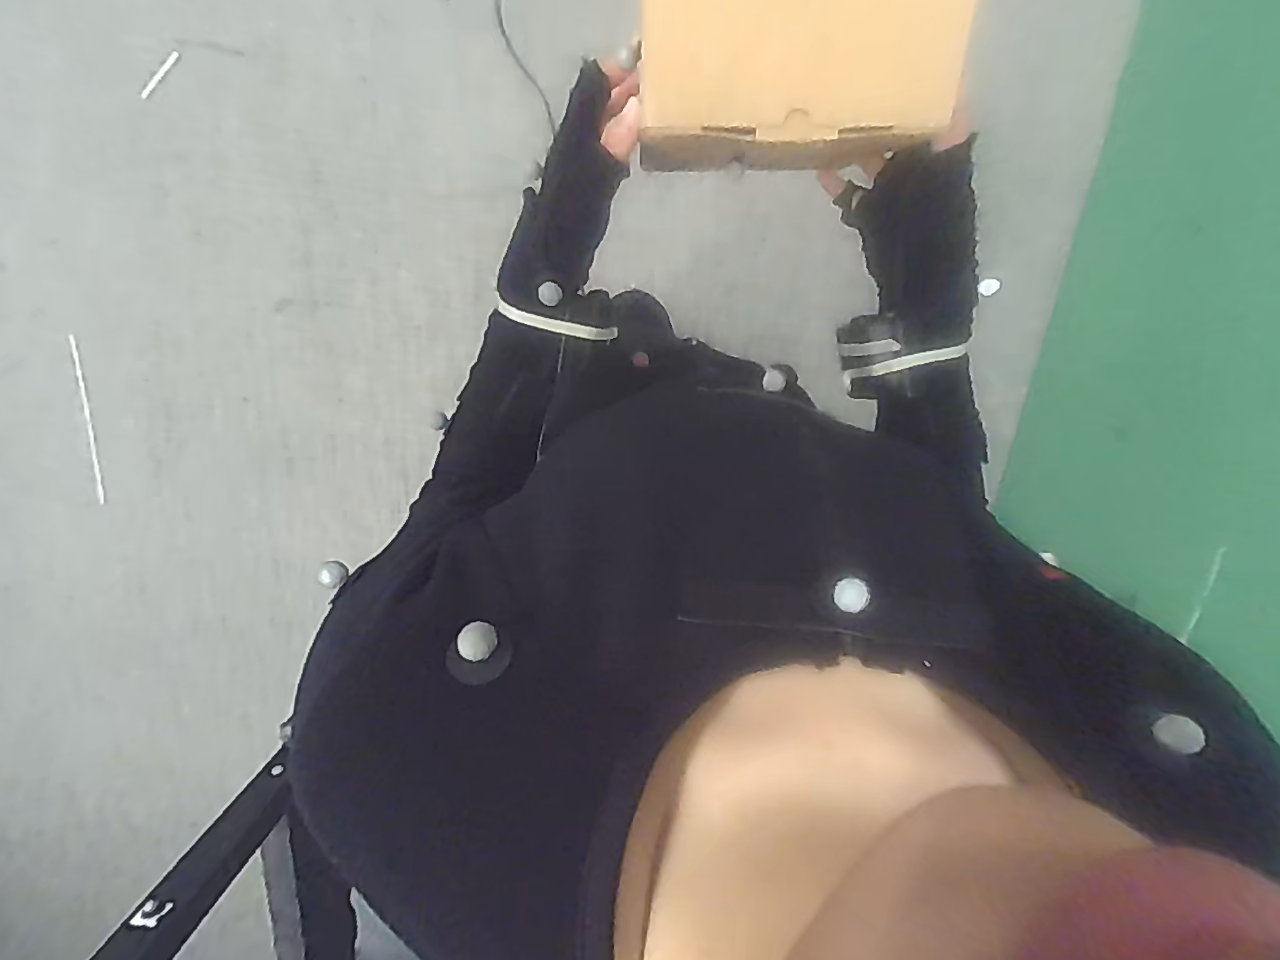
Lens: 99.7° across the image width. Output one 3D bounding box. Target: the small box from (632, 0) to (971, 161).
[{"bbox_3d":[0.078,-0.301,0.320,0.168,0.176,0.179,-1,115,0],"label":"small box"}]
